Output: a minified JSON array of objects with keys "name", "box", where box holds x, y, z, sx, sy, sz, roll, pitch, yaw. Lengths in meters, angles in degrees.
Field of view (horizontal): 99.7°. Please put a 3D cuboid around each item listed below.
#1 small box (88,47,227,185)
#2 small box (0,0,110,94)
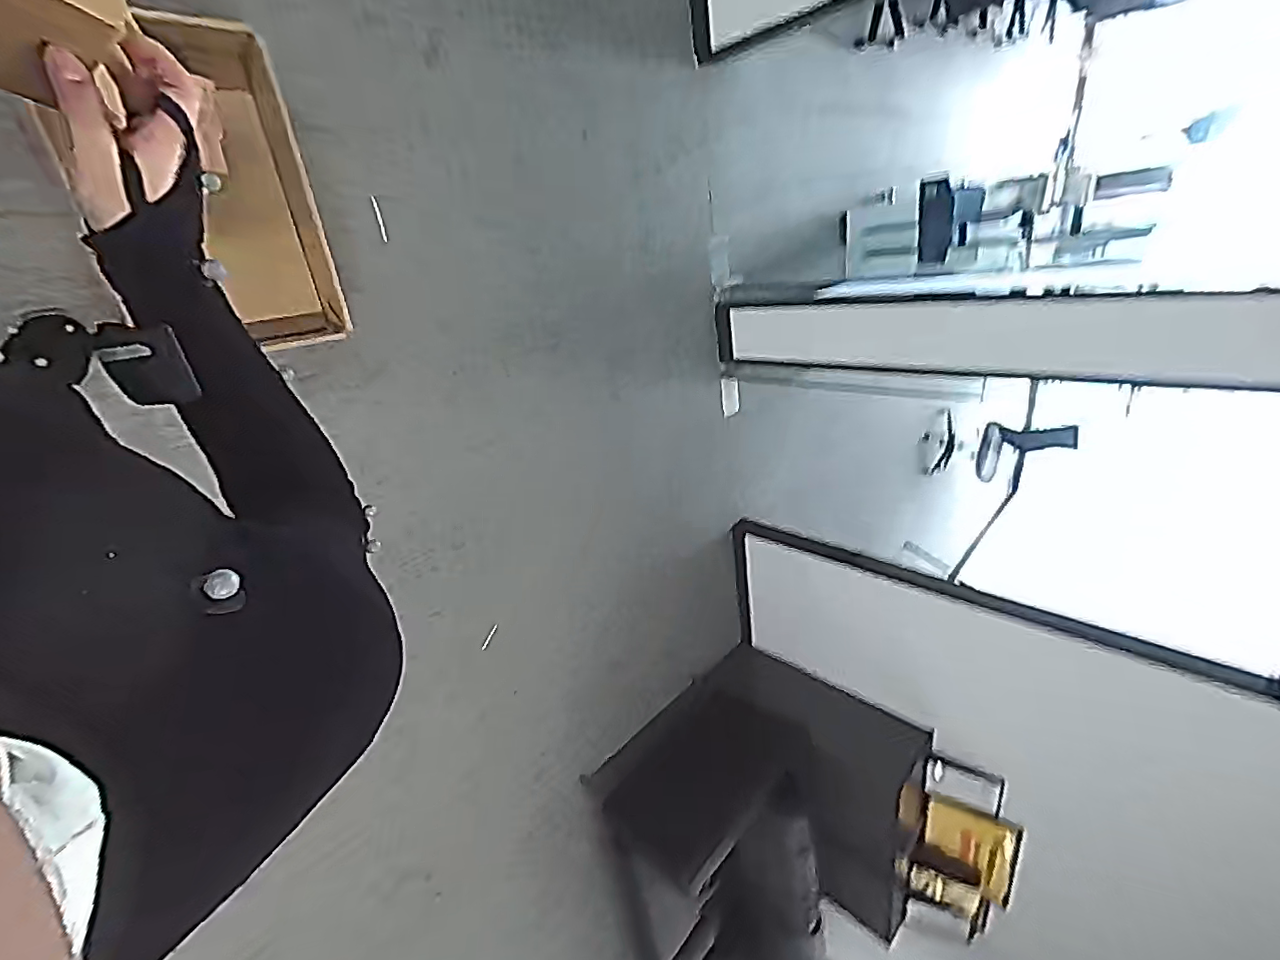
[{"name":"small box","box":[-0.942,-0.692,1.057,0.179,0.176,0.168,-13,111,-44]},{"name":"small box","box":[-0.408,-0.351,0.283,0.168,0.176,0.179,-1,96,-57]}]
